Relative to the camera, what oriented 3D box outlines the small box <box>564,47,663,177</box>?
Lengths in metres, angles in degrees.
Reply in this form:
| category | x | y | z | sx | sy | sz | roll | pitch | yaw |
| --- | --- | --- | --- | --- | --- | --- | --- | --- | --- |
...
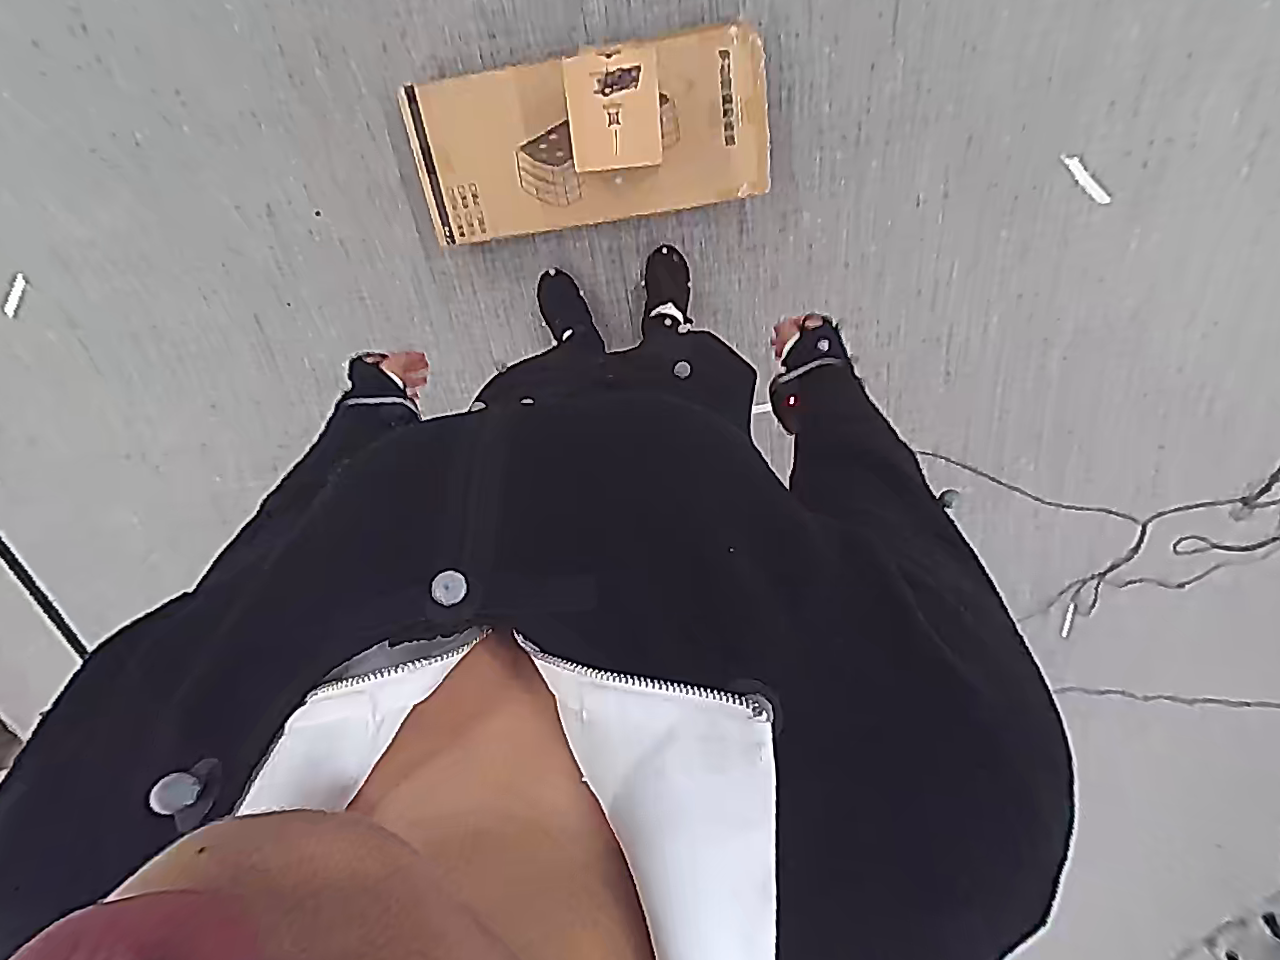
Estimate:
| category | x | y | z | sx | sy | sz | roll | pitch | yaw |
| --- | --- | --- | --- | --- | --- | --- | --- | --- | --- |
| small box | -0.046 | -0.694 | 1.037 | 0.168 | 0.176 | 0.179 | -4 | 116 | 3 |
